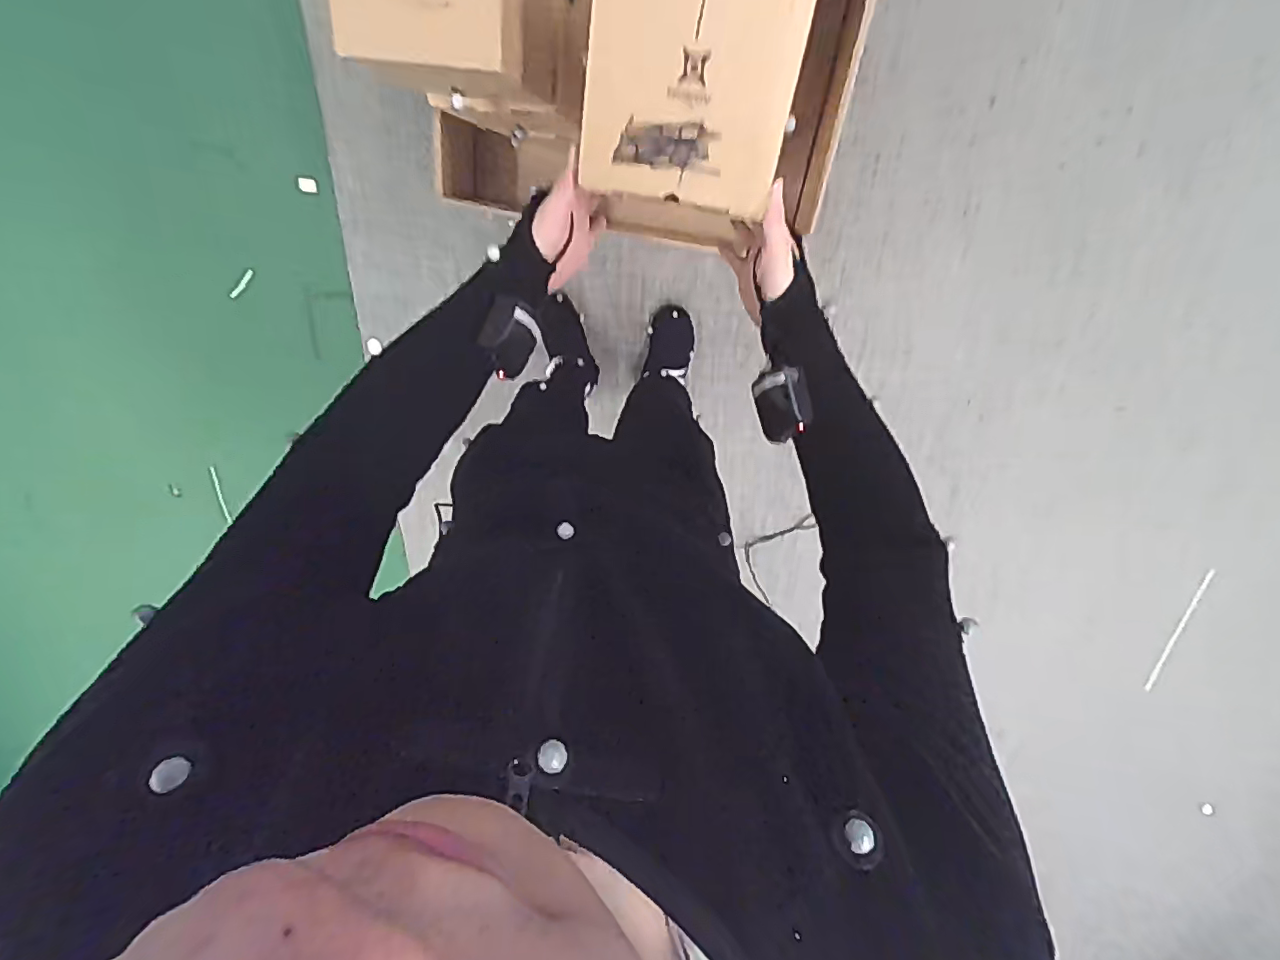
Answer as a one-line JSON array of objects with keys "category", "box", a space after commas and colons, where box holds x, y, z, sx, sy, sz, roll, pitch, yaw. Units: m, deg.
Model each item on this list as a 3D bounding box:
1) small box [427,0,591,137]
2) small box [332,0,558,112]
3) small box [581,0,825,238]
[{"category": "small box", "box": [-0.160, -0.556, 0.686, 0.168, 0.176, 0.179, 8, 117, 4]}, {"category": "small box", "box": [-0.183, -0.493, 0.537, 0.168, 0.176, 0.179, 9, 117, 3]}, {"category": "small box", "box": [0.045, -0.340, 0.497, 0.168, 0.176, 0.179, 8, 121, -3]}]
